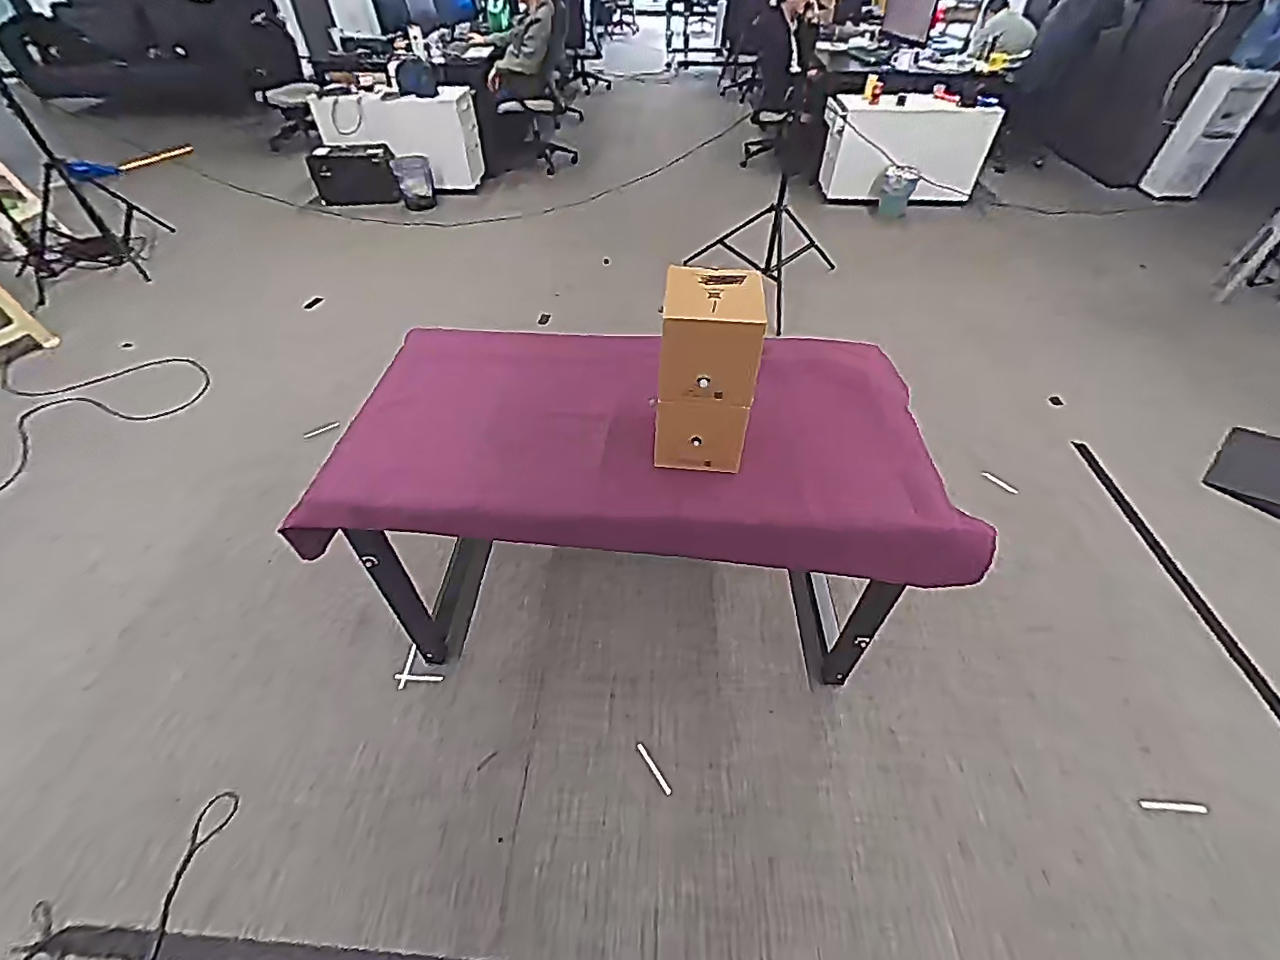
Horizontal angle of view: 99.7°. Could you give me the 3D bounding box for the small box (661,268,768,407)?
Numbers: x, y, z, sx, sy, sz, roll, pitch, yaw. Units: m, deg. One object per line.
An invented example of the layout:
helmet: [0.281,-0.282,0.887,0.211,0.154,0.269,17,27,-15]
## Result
small box: [0.126,-0.252,0.958,0.168,0.176,0.179,4,47,4]

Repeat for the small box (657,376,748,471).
small box: [0.122,-0.136,1.075,0.168,0.176,0.179,5,46,4]
